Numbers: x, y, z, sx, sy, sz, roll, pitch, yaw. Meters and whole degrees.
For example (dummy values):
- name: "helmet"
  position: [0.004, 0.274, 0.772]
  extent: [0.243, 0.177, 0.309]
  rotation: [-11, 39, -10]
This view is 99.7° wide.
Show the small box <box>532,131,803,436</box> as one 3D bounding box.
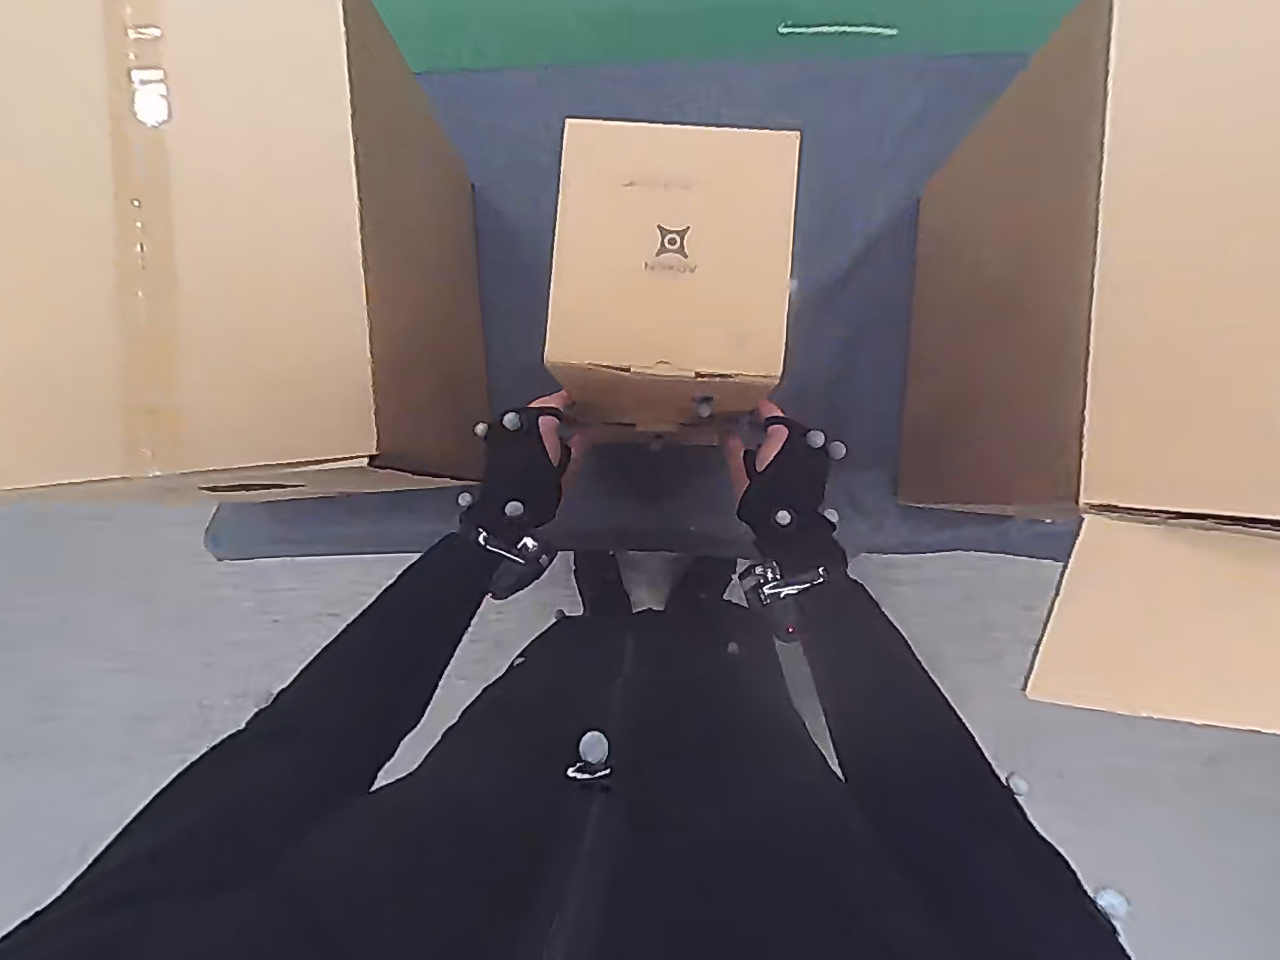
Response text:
- name: "small box"
  position: [0.020, -0.132, 0.425]
  extent: [0.168, 0.176, 0.179]
  rotation: [4, 87, 1]
